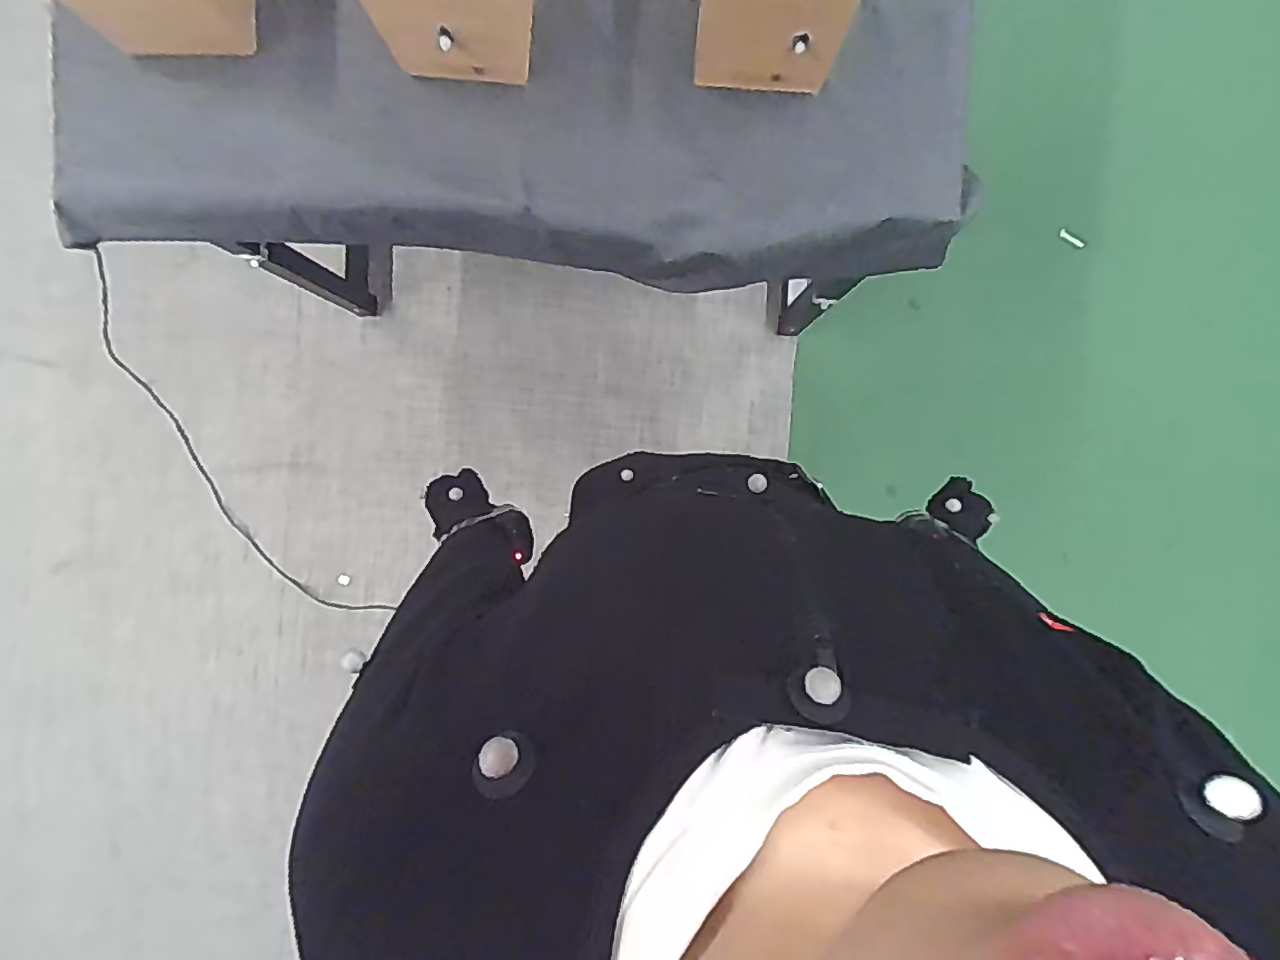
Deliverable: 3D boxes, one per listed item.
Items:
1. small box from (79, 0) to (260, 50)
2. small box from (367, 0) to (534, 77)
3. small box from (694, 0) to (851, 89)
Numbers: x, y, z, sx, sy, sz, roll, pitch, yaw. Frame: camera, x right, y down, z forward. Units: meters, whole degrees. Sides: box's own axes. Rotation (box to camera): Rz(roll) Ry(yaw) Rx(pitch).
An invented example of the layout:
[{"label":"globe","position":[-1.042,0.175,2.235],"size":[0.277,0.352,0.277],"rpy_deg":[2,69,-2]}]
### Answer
[{"label":"small box","position":[-0.591,-0.649,0.635],"size":[0.179,0.176,0.168],"rpy_deg":[0,93,-1]},{"label":"small box","position":[-0.222,-0.618,0.634],"size":[0.168,0.176,0.179],"rpy_deg":[5,93,0]},{"label":"small box","position":[0.157,-0.601,0.632],"size":[0.168,0.176,0.179],"rpy_deg":[4,91,0]}]
